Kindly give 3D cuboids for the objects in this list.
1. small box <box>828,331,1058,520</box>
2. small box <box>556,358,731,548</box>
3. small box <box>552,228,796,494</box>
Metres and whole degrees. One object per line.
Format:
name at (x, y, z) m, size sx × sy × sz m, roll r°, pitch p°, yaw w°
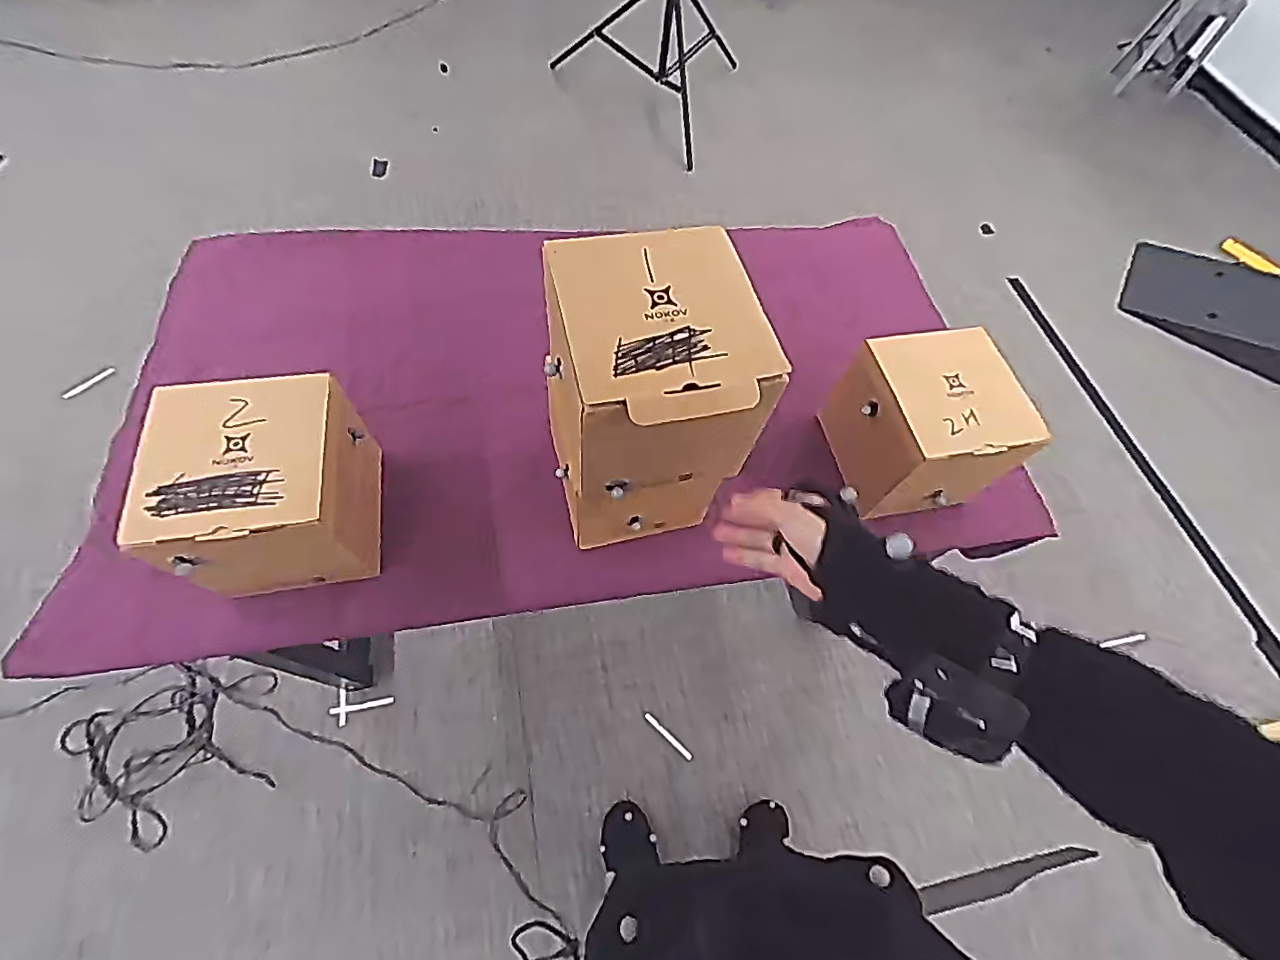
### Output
small box at (0.372, -0.067, 0.706) m, size 0.168 × 0.176 × 0.179 m, roll -8°, pitch 64°, yaw -9°
small box at (-0.006, -0.038, 0.655) m, size 0.168 × 0.176 × 0.179 m, roll -11°, pitch 65°, yaw -11°
small box at (0.016, -0.099, 0.503) m, size 0.168 × 0.176 × 0.179 m, roll -10°, pitch 64°, yaw -11°
